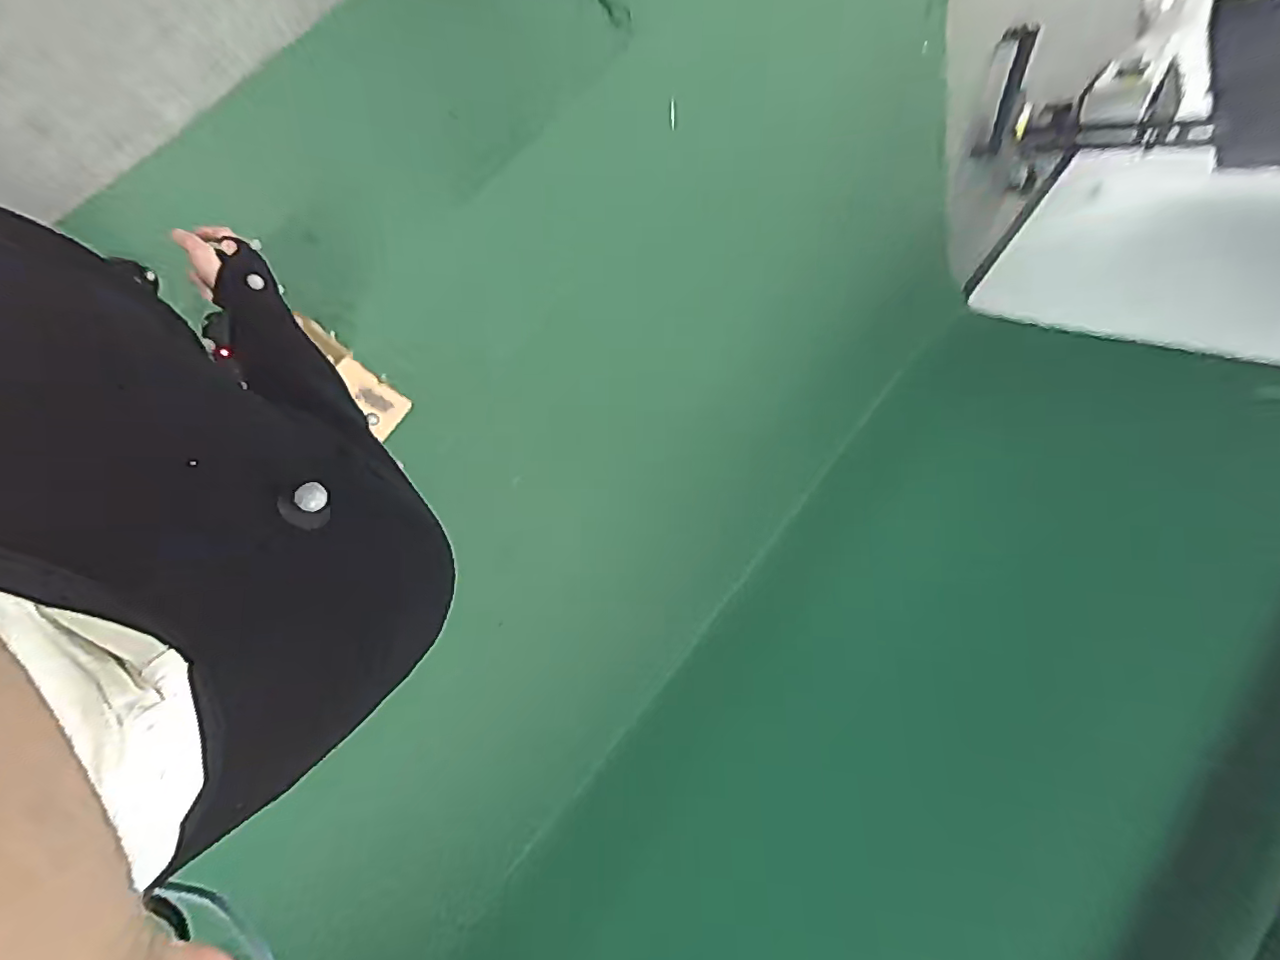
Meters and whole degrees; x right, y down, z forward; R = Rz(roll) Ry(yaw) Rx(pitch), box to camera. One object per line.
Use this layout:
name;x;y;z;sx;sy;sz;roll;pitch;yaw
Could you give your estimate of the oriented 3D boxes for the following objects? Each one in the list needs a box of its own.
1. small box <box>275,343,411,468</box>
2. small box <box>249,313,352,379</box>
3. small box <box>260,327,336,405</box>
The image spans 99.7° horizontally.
small box;-0.626;-0.161;1.133;0.179;0.176;0.168;-52;137;-8
small box;-0.836;-0.290;1.348;0.179;0.176;0.168;-49;138;-11
small box;-0.734;-0.222;1.241;0.179;0.176;0.168;-52;137;-10
